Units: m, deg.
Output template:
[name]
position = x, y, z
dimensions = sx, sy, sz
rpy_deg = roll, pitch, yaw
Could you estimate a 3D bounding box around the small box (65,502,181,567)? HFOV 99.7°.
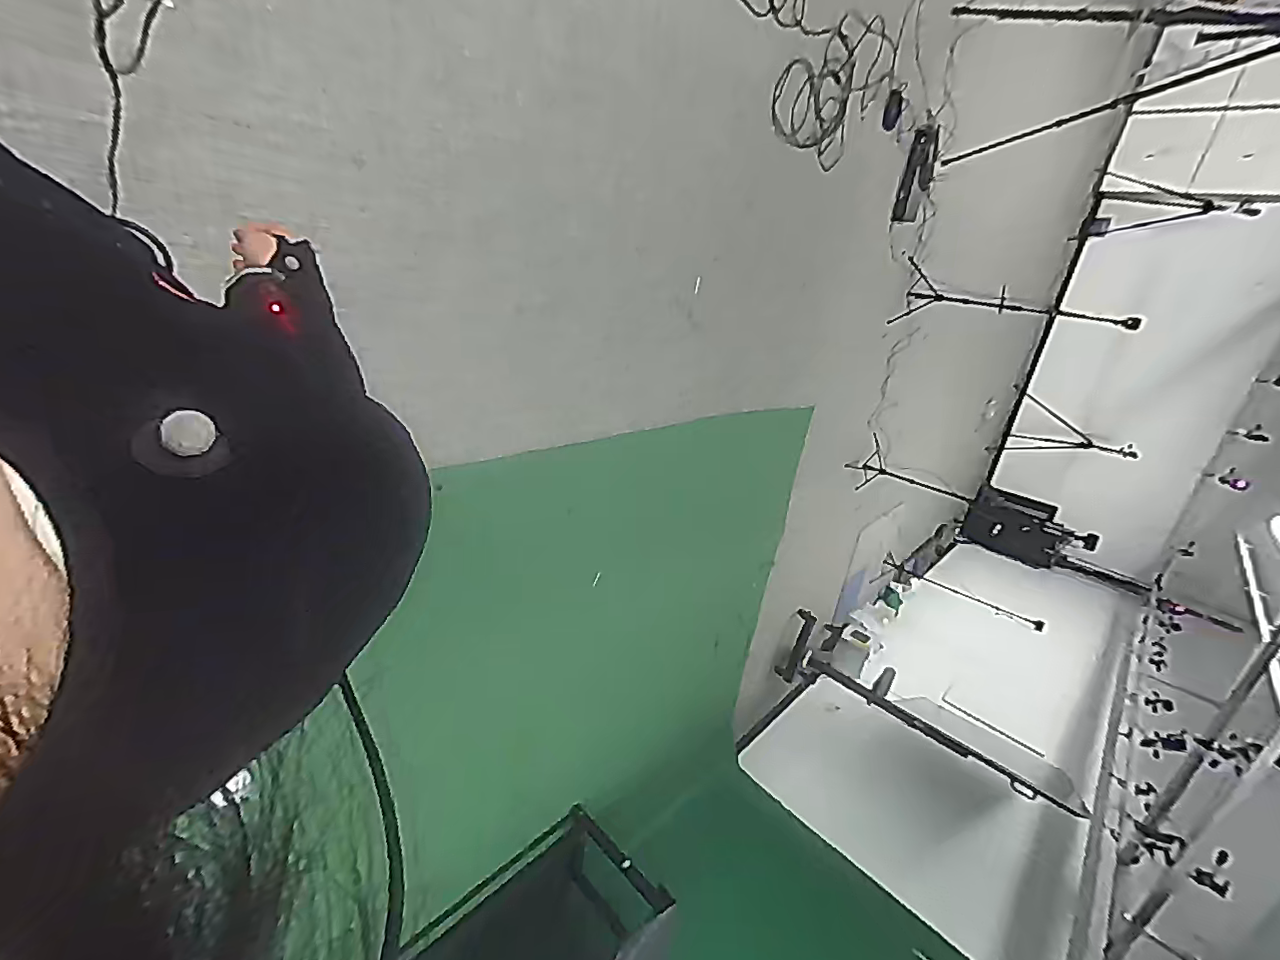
[small box]
position = -1.032, 0.167, 1.104
dimensions = 0.168, 0.176, 0.179
rpy_deg = -17, 120, -42
